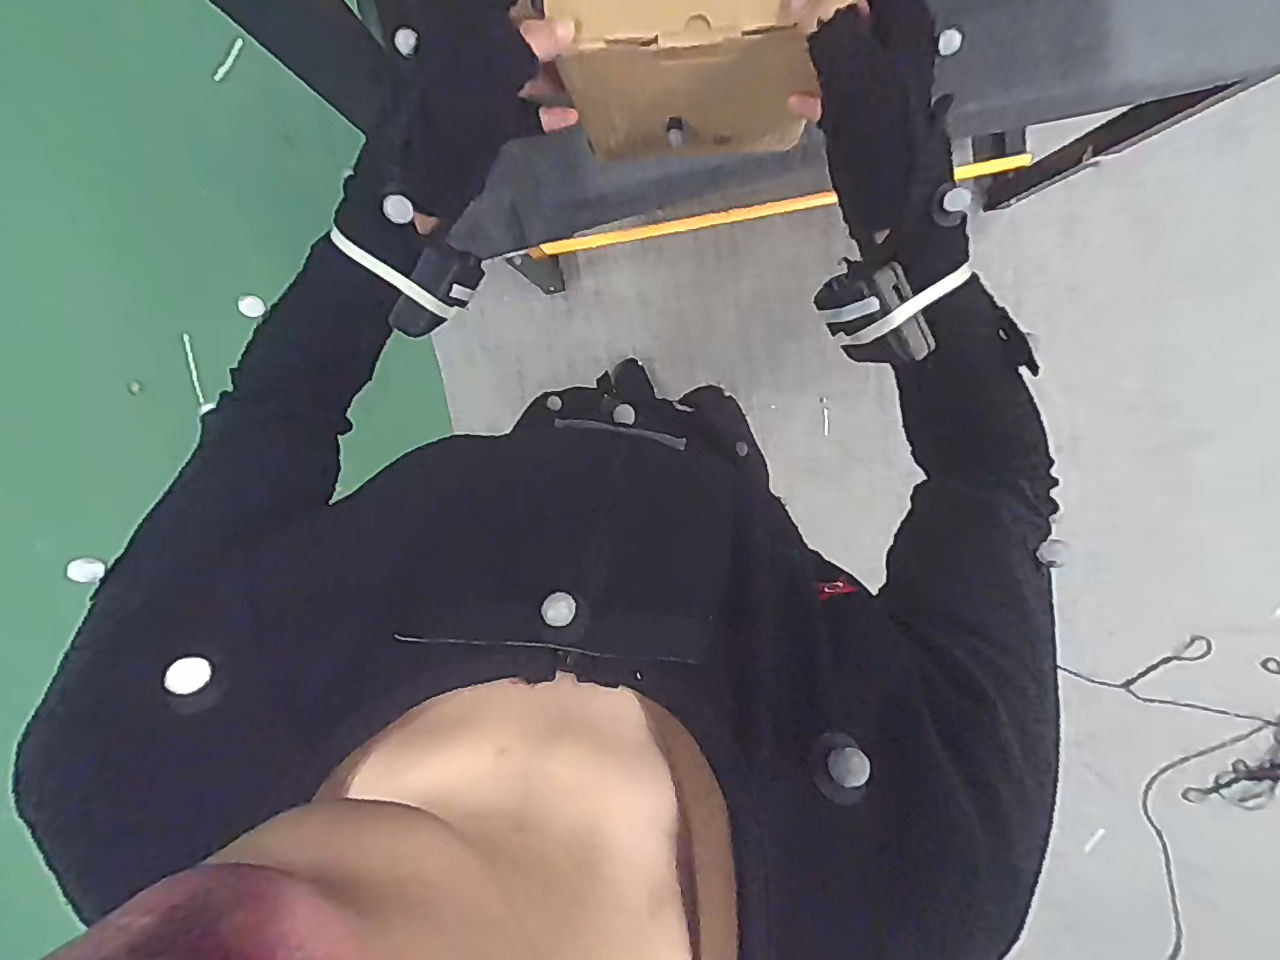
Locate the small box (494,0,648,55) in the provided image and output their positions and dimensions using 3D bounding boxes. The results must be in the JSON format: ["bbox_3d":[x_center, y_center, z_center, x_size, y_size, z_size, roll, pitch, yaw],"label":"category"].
[{"bbox_3d":[-0.085,-0.582,0.542,0.168,0.176,0.179,-9,100,3],"label":"small box"}]
